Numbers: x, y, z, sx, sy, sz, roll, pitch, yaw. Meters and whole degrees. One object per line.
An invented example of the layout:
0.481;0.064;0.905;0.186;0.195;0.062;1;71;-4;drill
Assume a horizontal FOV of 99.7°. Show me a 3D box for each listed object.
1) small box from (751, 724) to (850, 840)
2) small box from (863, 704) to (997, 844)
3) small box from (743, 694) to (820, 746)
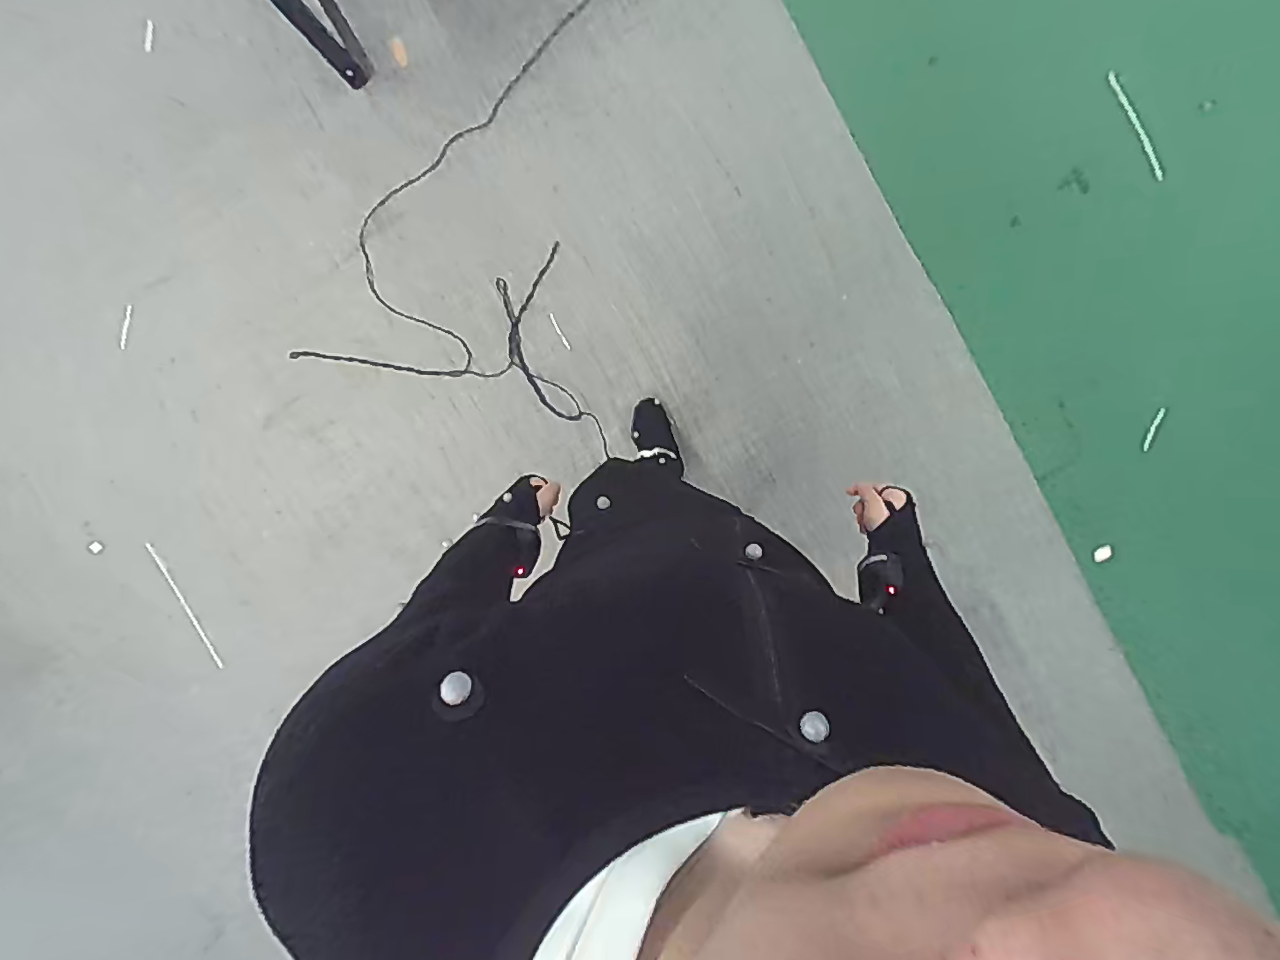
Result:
0.392;0.742;1.355;0.168;0.176;0.179;-25;92;5;small box
0.613;0.623;1.165;0.168;0.176;0.179;-27;90;6;small box
0.404;0.730;1.520;0.168;0.176;0.179;-26;91;5;small box
